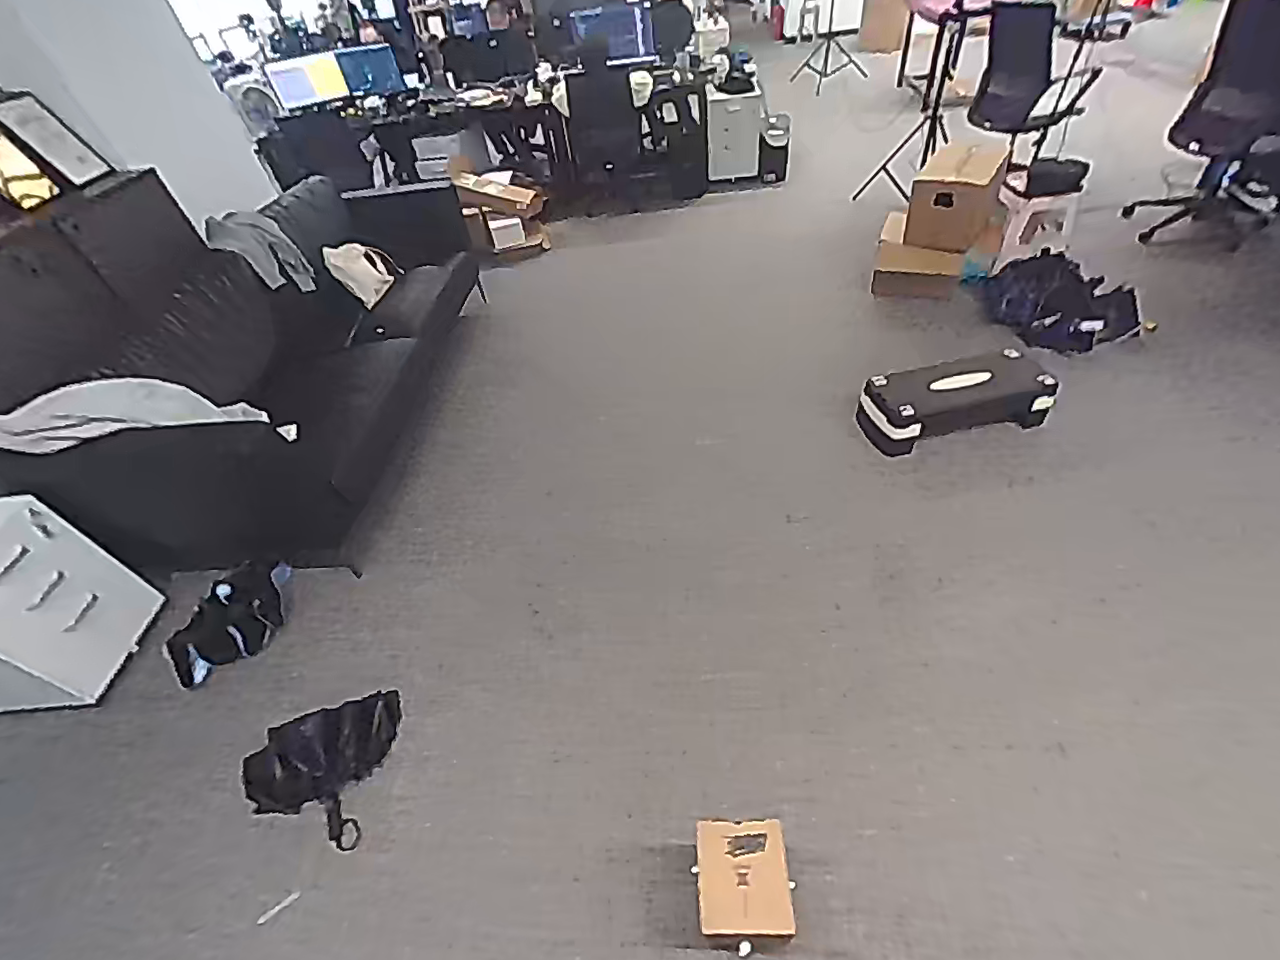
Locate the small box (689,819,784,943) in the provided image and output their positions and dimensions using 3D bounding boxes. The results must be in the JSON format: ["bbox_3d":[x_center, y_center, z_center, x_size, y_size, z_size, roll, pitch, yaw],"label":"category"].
[{"bbox_3d":[0.184,0.789,1.066,0.168,0.176,0.179,-4,46,6],"label":"small box"}]
